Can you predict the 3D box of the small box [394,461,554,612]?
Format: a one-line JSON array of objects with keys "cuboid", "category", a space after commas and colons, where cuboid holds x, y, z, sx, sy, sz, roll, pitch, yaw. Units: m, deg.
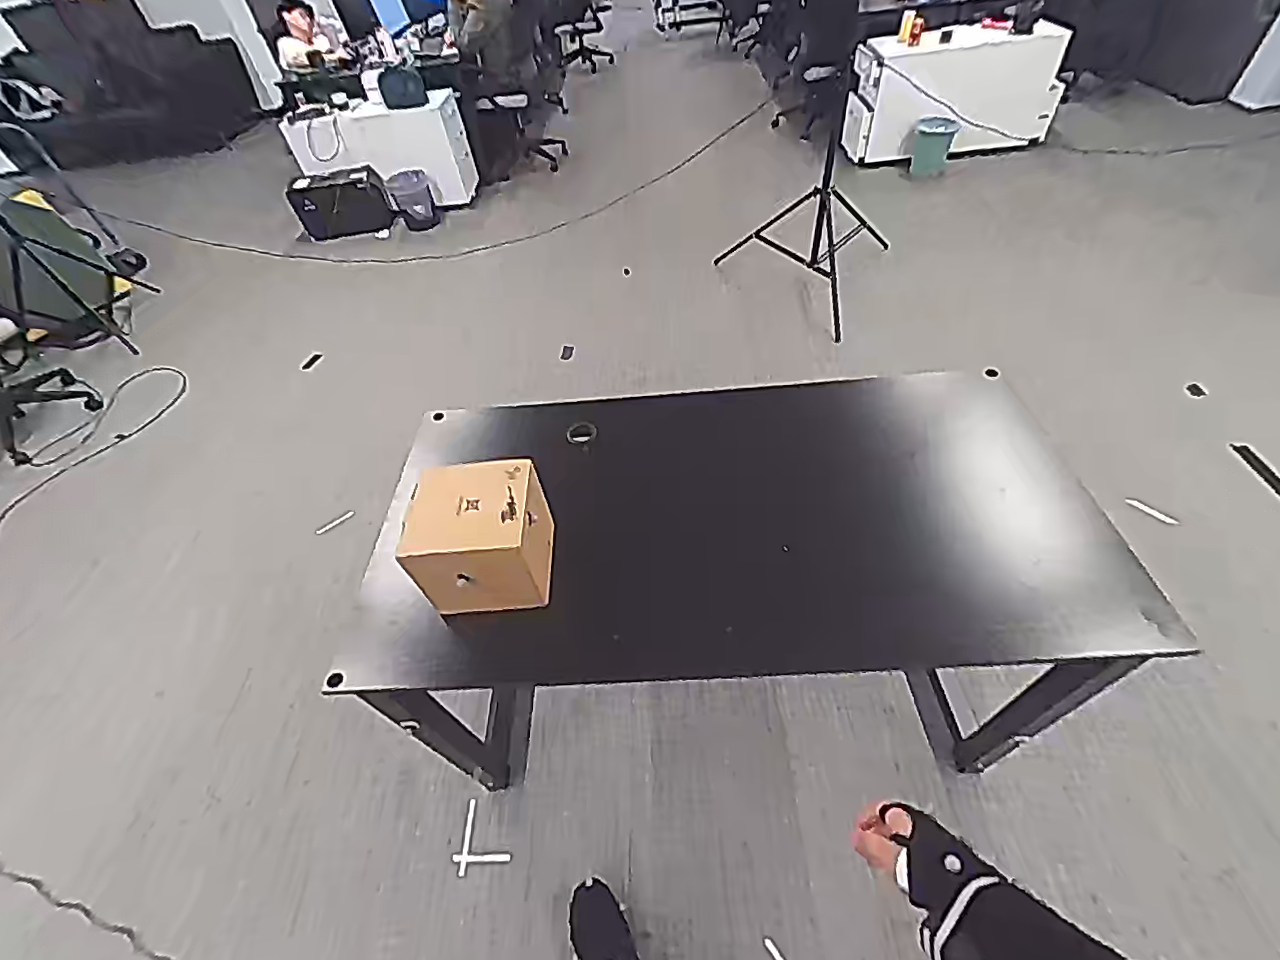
[{"cuboid": [-0.244, 0.093, 0.843, 0.179, 0.176, 0.168, -6, 49, 3], "category": "small box"}]
